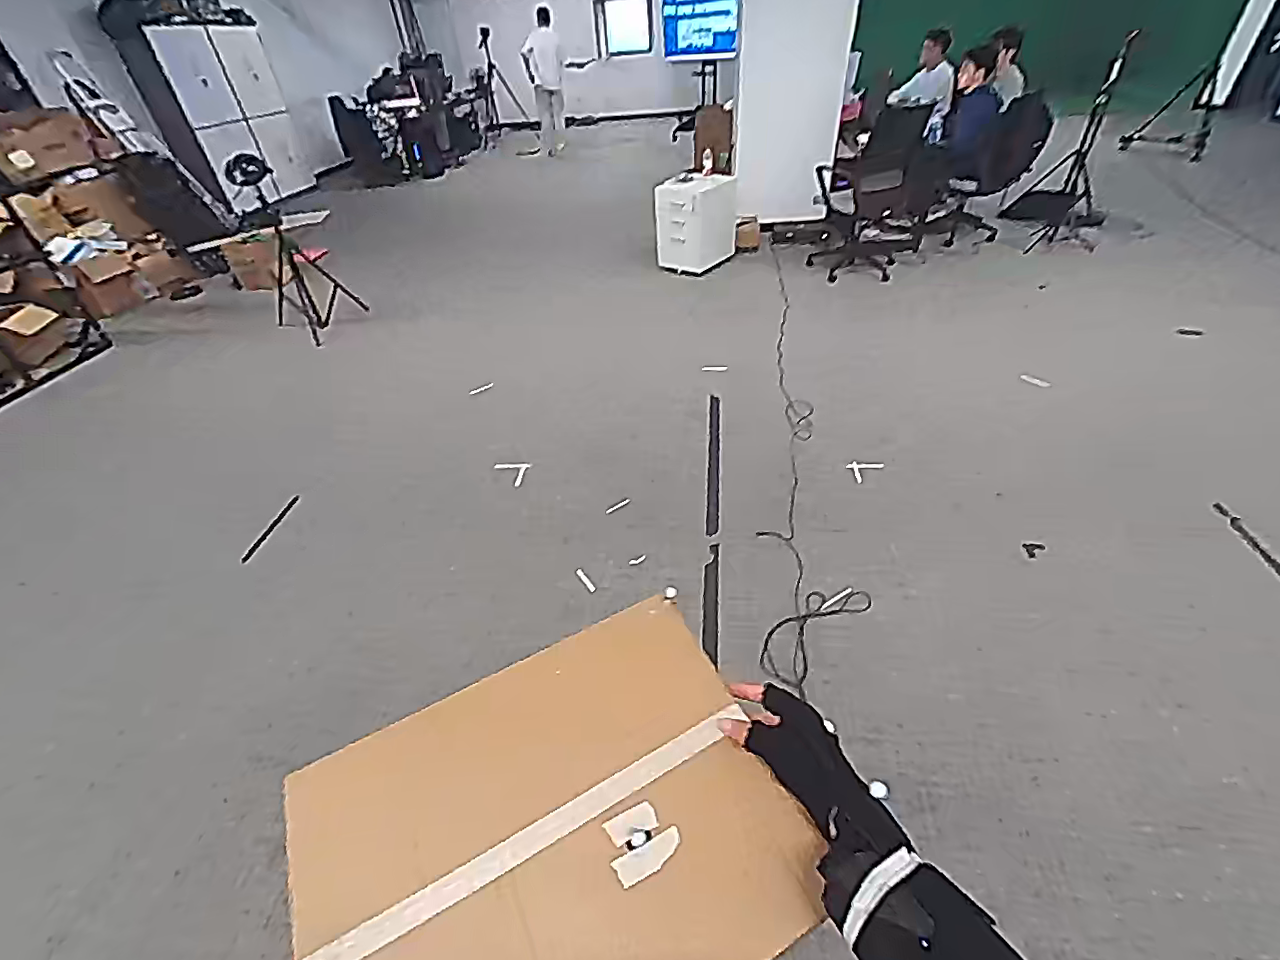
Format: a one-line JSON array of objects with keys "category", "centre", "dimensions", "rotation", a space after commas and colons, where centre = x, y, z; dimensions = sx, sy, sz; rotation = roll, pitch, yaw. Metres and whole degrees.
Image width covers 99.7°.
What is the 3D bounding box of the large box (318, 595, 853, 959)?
[{"category": "large box", "centre": [-0.060, 0.402, 0.588], "dimensions": [0.408, 0.320, 0.320], "rotation": [-21, 50, -17]}]
